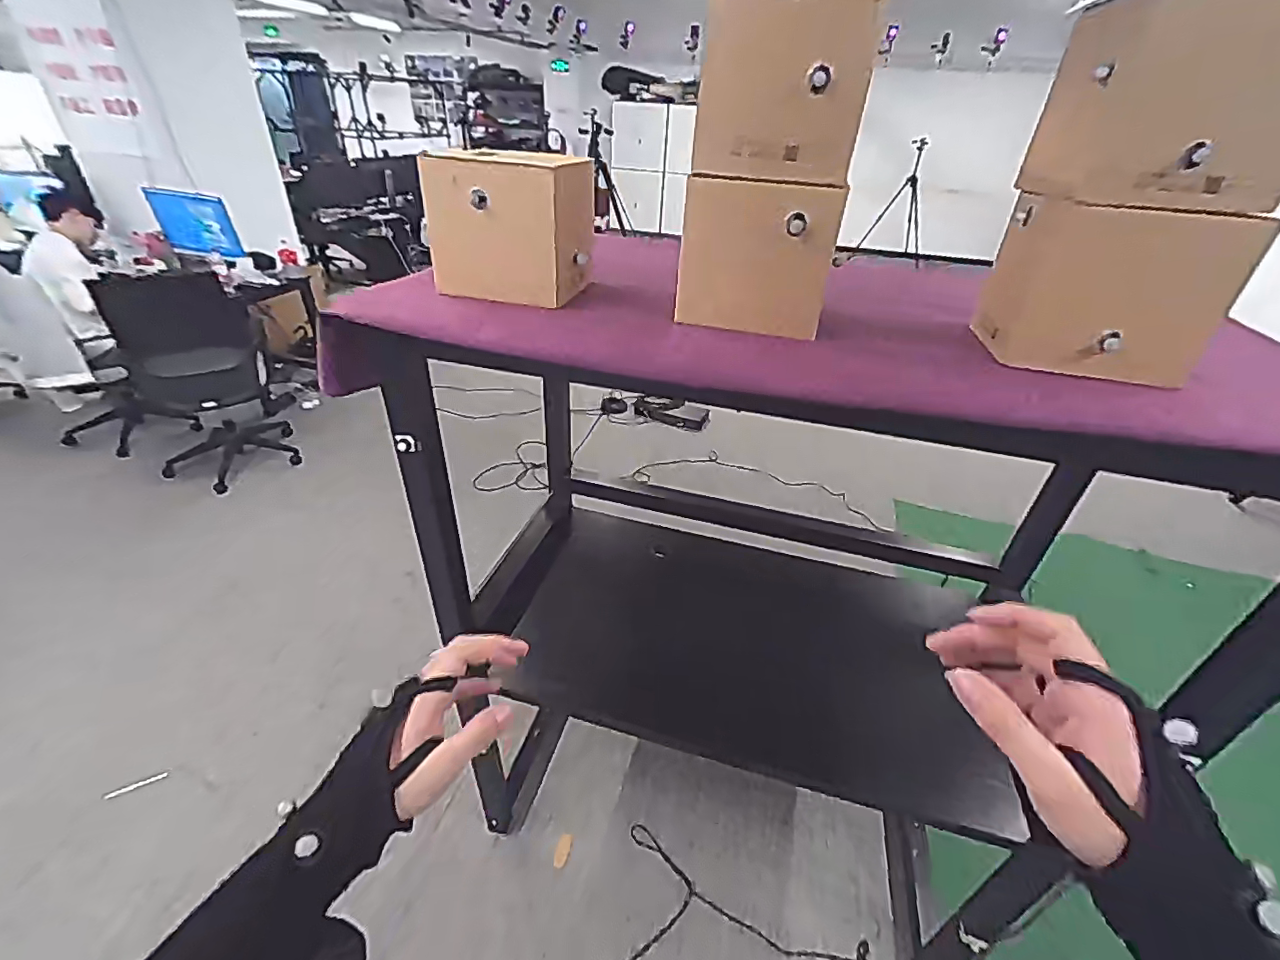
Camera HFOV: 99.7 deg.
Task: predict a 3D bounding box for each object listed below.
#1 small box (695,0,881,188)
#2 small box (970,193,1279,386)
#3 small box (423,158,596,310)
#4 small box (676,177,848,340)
[{"bbox_3d":[0.161,-0.428,0.608,0.168,0.176,0.179,12,33,12],"label":"small box"},{"bbox_3d":[0.511,-0.217,0.608,0.179,0.176,0.168,11,32,12],"label":"small box"},{"bbox_3d":[-0.168,-0.343,0.751,0.179,0.176,0.168,10,34,9],"label":"small box"},{"bbox_3d":[0.153,-0.287,0.690,0.179,0.176,0.168,11,33,13],"label":"small box"}]
